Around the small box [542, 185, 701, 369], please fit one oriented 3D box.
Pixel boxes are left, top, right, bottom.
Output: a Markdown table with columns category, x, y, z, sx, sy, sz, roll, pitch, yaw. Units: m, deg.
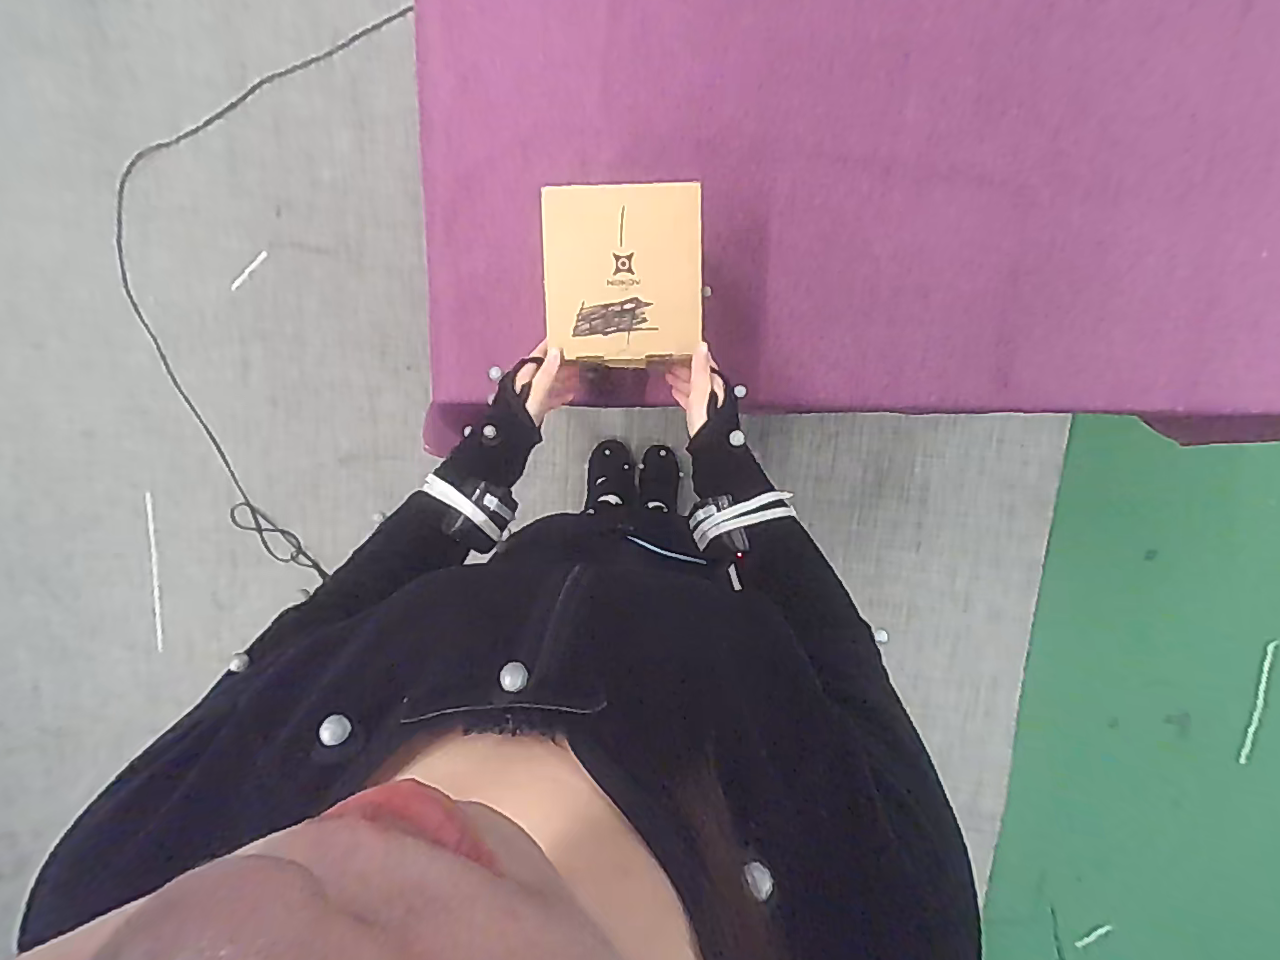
| category | x | y | z | sx | sy | sz | roll | pitch | yaw |
| --- | --- | --- | --- | --- | --- | --- | --- | --- | --- |
| small box | -0.016 | -0.224 | 0.641 | 0.168 | 0.176 | 0.179 | 0 | 97 | 2 |
